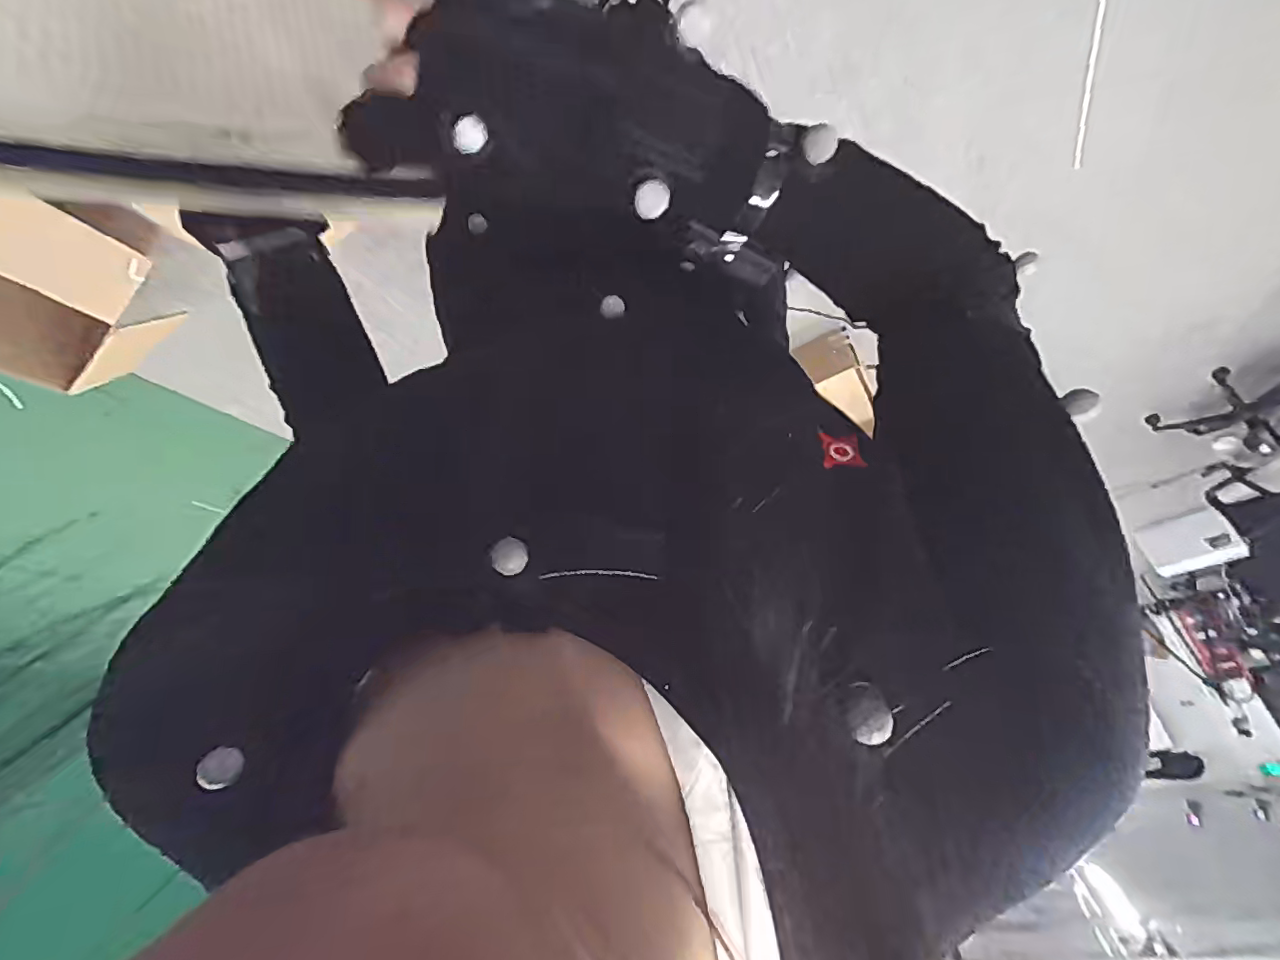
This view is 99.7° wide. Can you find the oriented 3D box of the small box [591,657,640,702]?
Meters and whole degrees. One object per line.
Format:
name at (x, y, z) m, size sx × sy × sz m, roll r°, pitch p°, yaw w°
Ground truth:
small box at (-0.116, 0.940, 2.548) m, size 0.168 × 0.176 × 0.179 m, roll -21°, pitch 148°, yaw 19°
